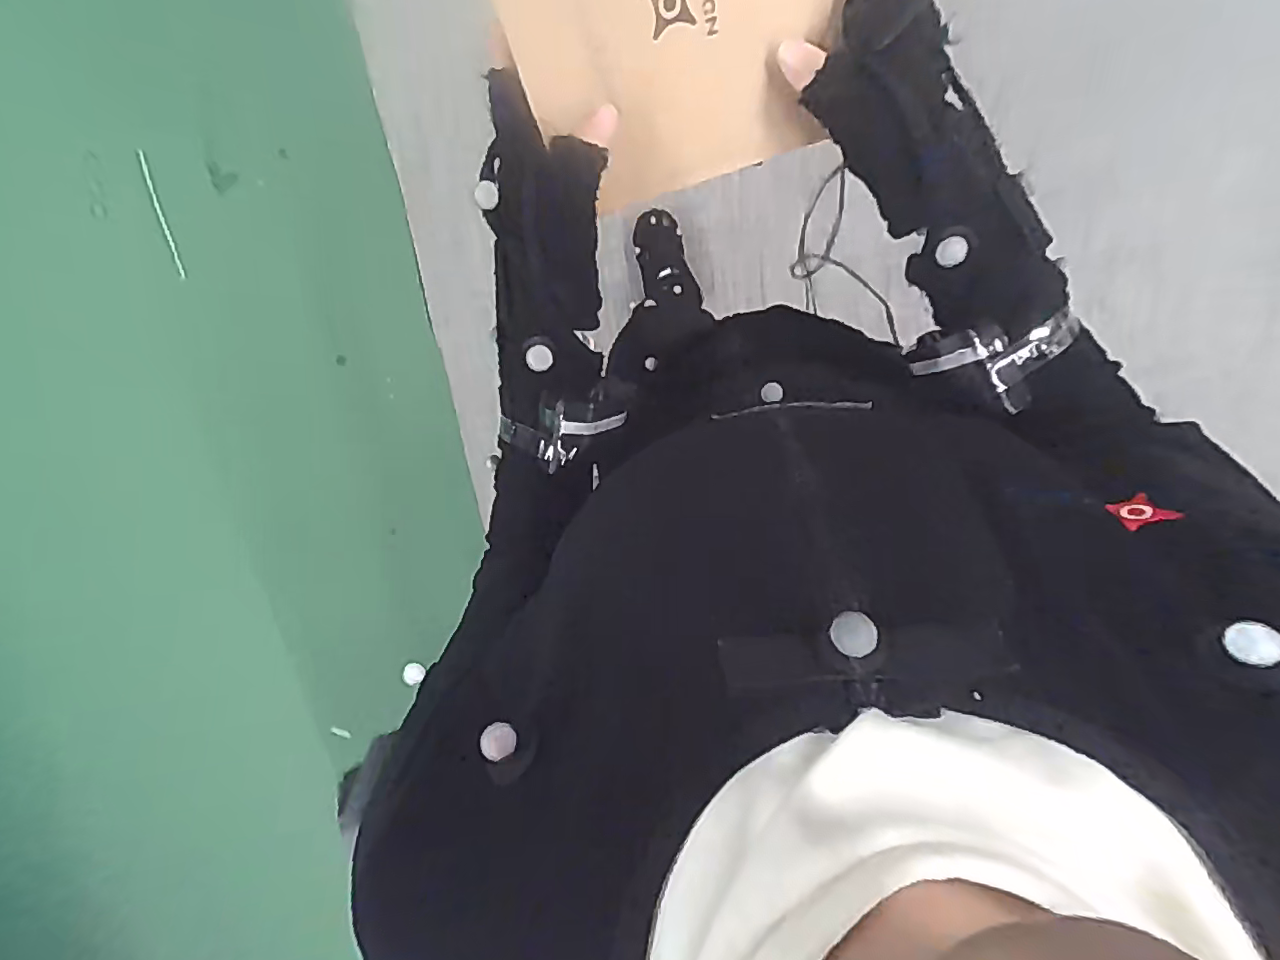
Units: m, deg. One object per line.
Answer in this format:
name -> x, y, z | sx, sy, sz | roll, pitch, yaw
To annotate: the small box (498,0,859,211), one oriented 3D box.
small box -> 0.014, -0.294, 0.332 | 0.179, 0.176, 0.168 | -15, 126, 9
